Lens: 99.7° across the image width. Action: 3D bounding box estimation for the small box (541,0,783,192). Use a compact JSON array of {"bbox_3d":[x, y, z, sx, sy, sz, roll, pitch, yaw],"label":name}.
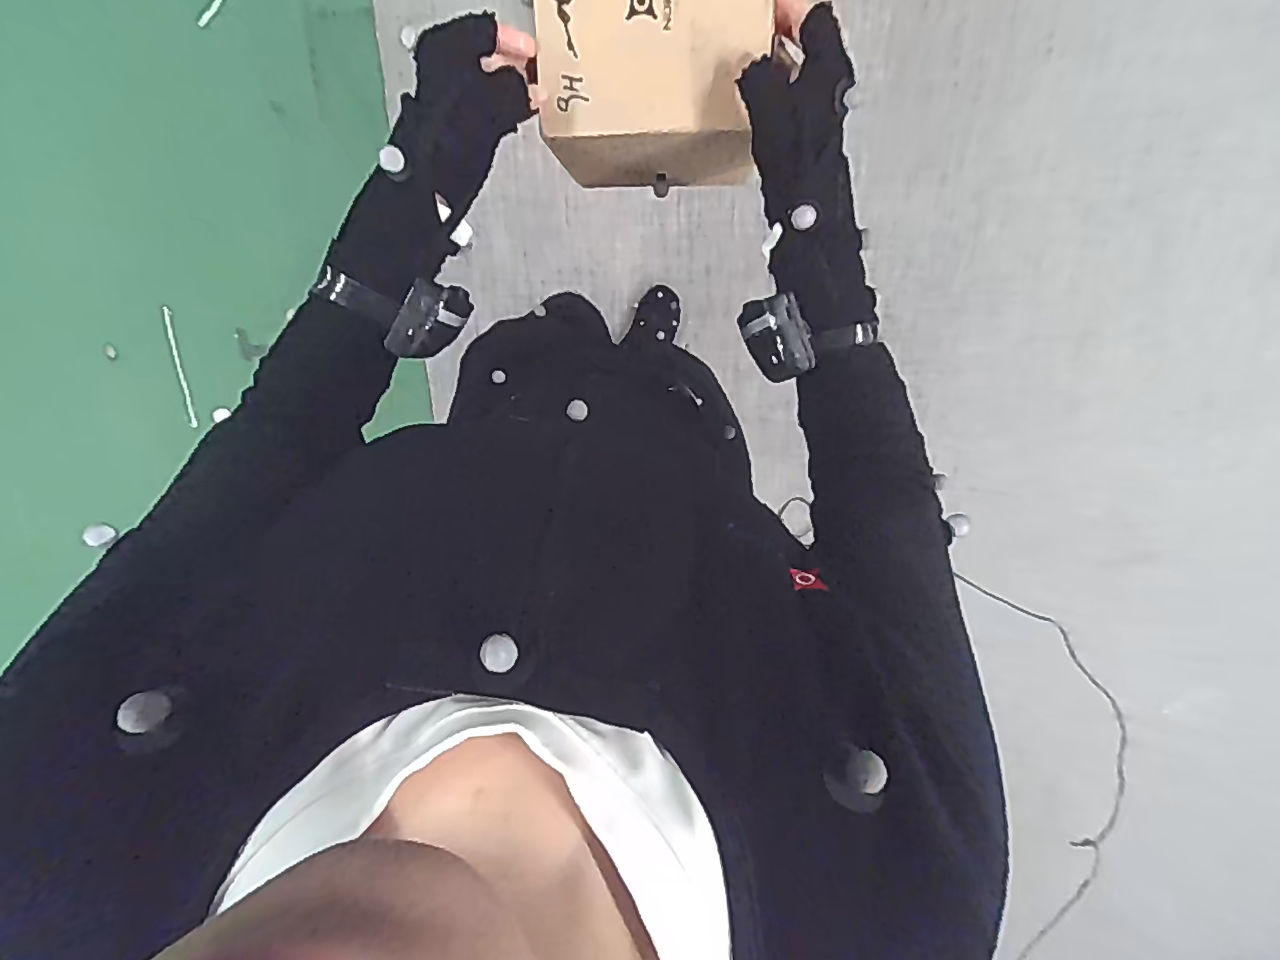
[{"bbox_3d":[0.019,-0.358,0.464,0.179,0.176,0.168,1,106,4],"label":"small box"}]
